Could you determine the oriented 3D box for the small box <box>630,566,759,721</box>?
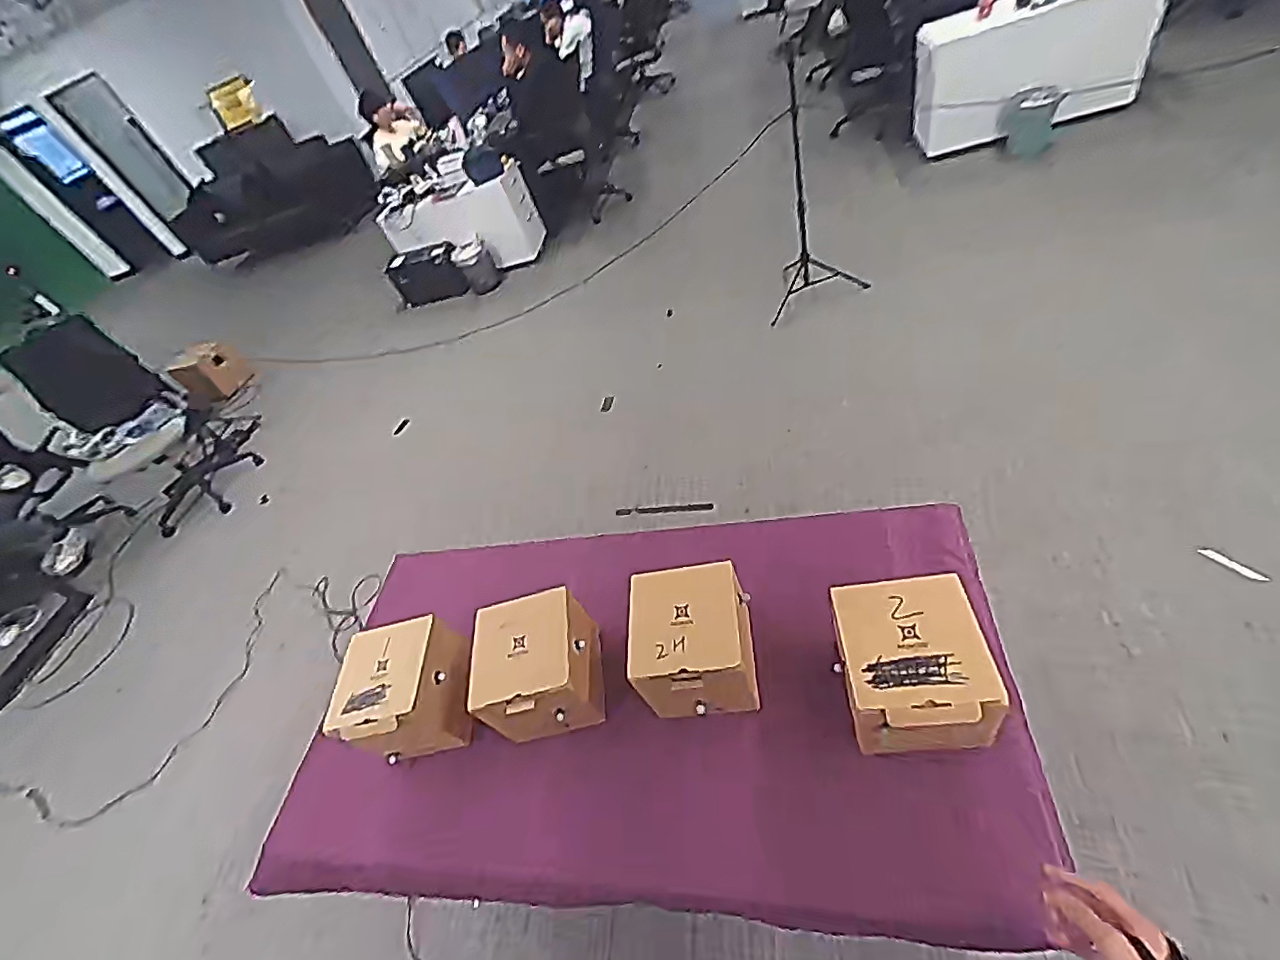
[{"bbox_3d":[0.089,0.264,0.863,0.168,0.176,0.179,-11,46,14],"label":"small box"}]

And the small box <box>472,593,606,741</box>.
[{"bbox_3d":[-0.164,0.325,0.918,0.168,0.176,0.179,-17,45,7],"label":"small box"}]

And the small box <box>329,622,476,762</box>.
[{"bbox_3d":[-0.404,0.384,0.964,0.168,0.176,0.179,-16,45,9],"label":"small box"}]
